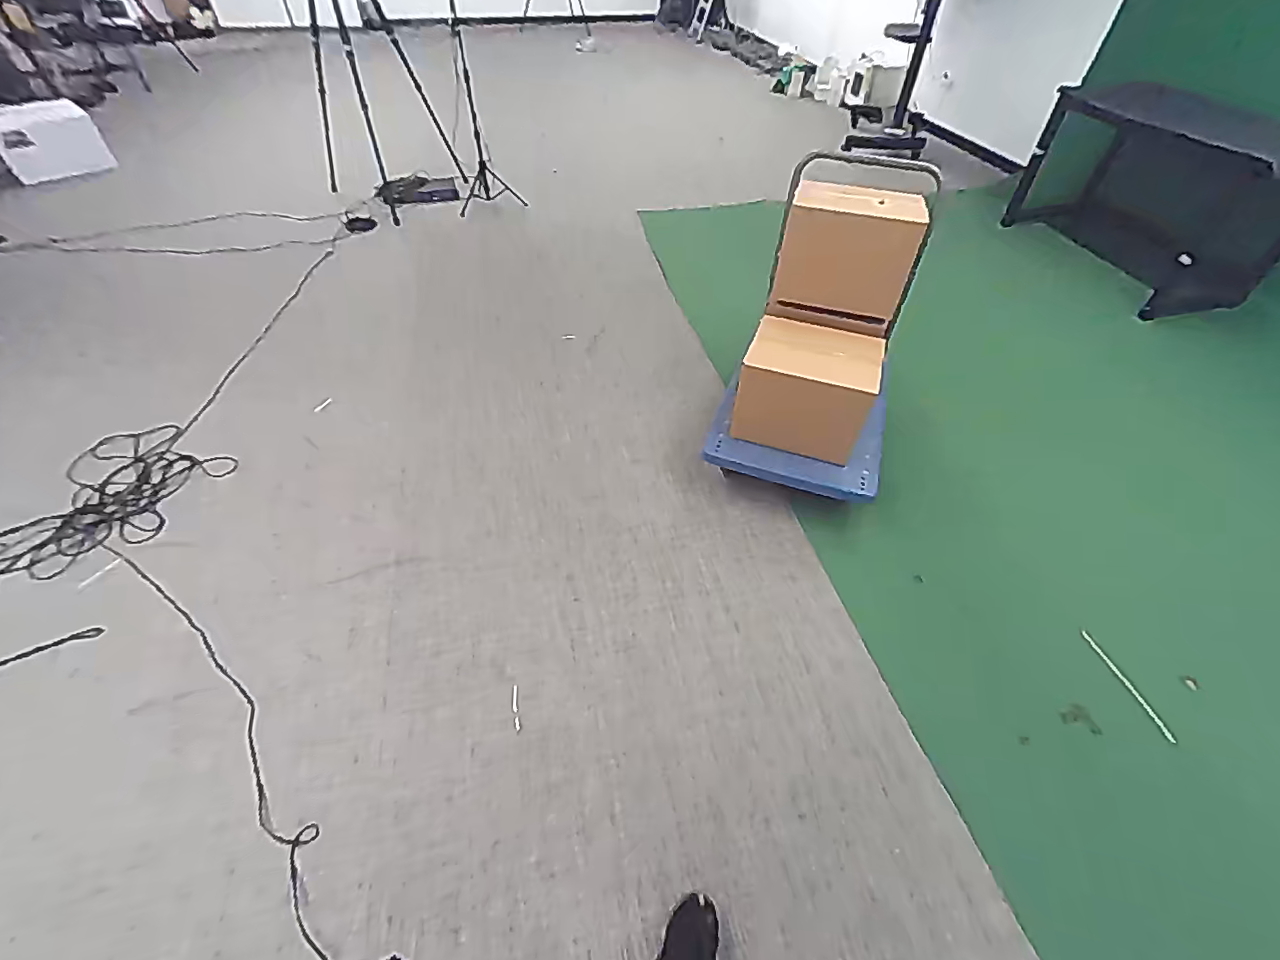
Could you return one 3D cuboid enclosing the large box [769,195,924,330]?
[{"bbox_3d":[0.684,-0.745,1.840,0.408,0.320,0.320,15,43,11],"label":"large box"}]
